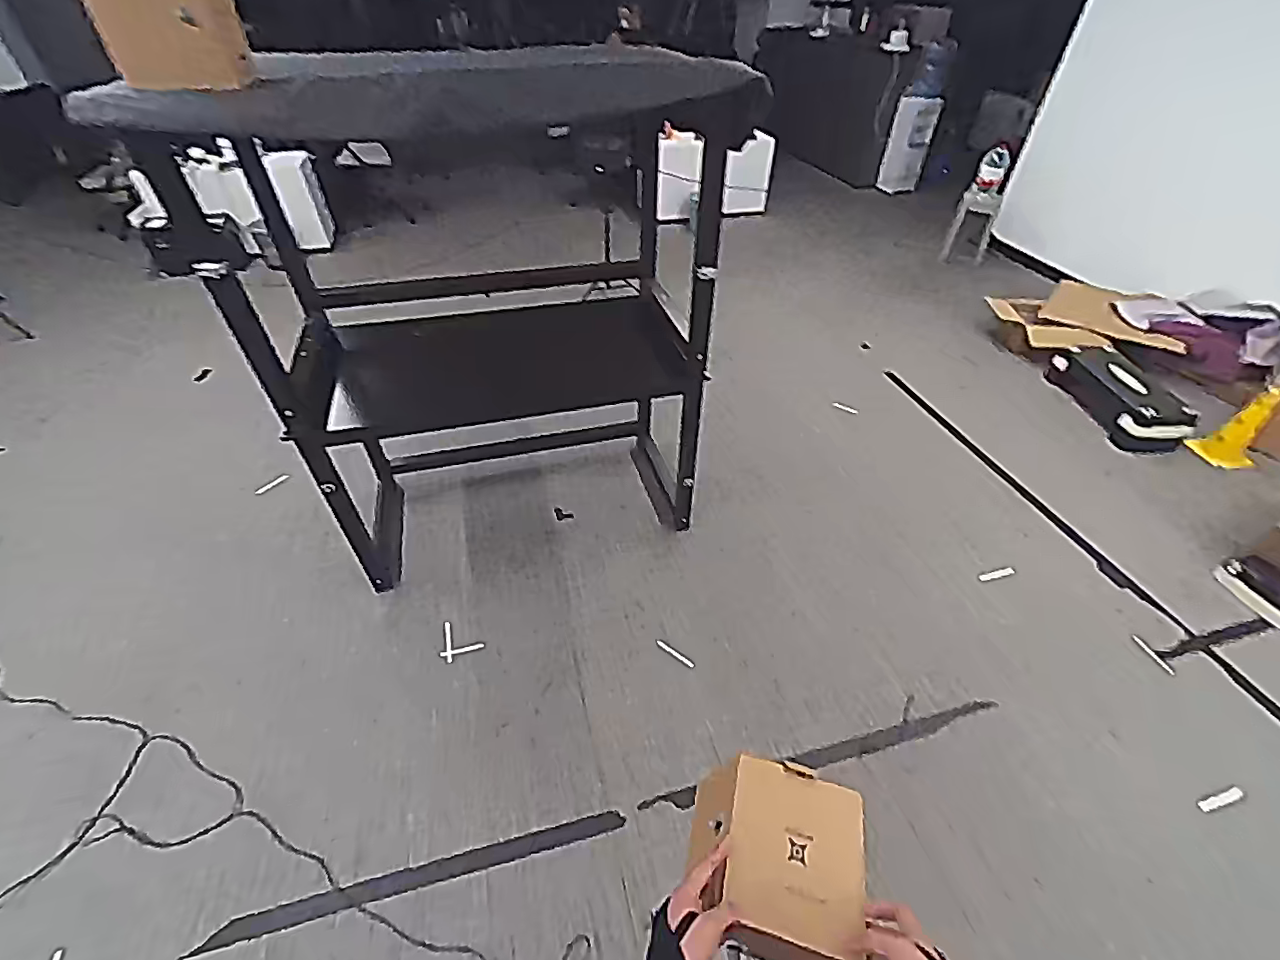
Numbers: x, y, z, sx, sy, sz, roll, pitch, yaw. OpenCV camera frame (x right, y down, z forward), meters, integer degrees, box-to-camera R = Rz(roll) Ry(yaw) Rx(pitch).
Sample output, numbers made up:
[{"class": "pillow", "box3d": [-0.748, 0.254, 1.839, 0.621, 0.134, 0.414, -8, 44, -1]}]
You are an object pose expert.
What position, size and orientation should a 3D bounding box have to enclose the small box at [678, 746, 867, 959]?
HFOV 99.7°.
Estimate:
[{"class": "small box", "box3d": [0.157, 0.469, 0.668, 0.168, 0.176, 0.179, 20, 44, 1]}]
